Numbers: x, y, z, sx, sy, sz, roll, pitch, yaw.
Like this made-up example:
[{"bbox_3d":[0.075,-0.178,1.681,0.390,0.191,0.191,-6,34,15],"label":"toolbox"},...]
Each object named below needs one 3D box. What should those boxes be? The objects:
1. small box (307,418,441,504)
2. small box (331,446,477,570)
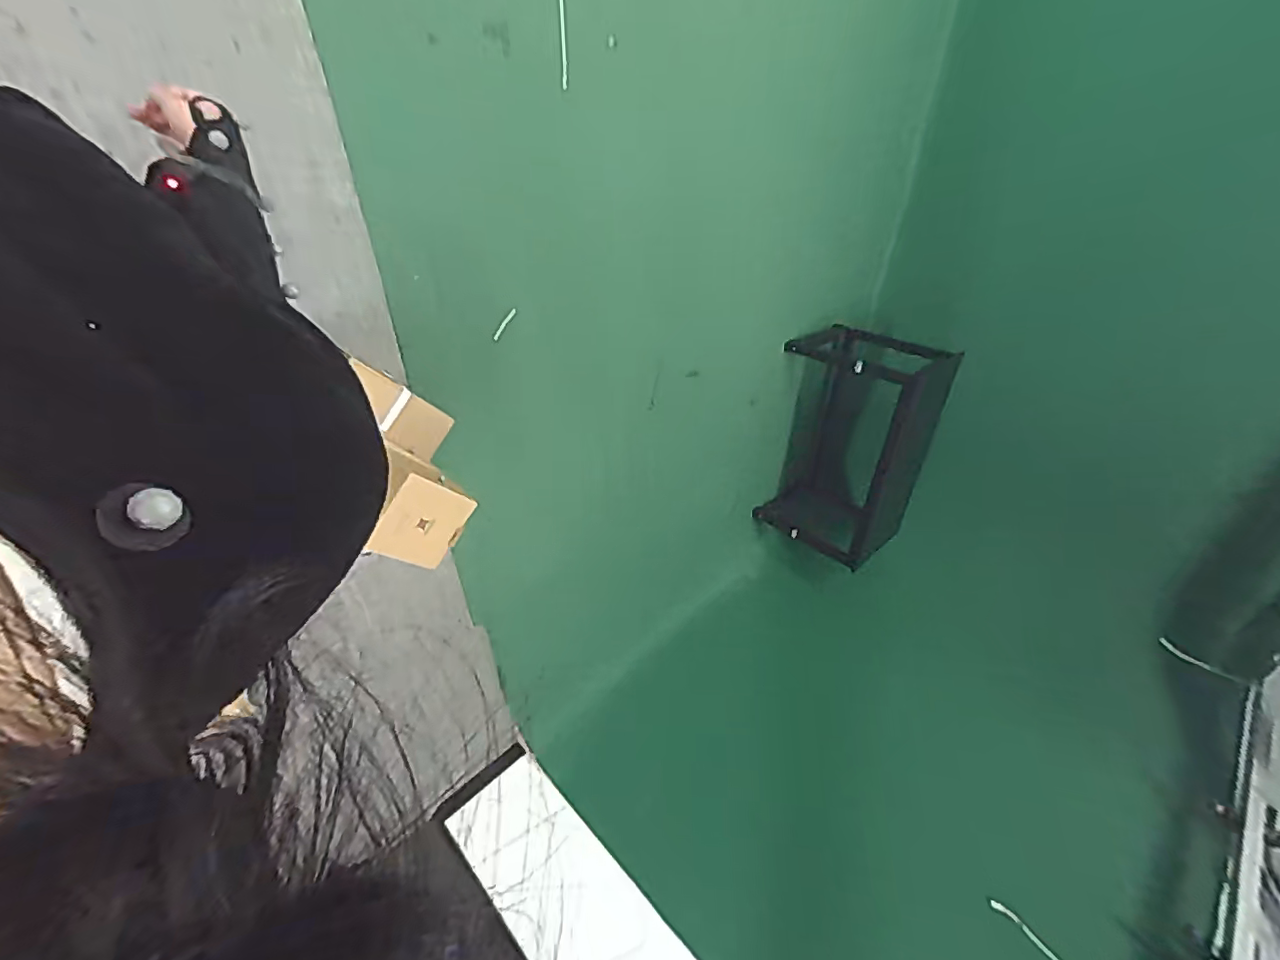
[{"bbox_3d":[-0.584,-0.013,1.193,0.168,0.176,0.179,-55,143,-7],"label":"small box"},{"bbox_3d":[-0.476,0.054,1.091,0.168,0.176,0.179,-57,144,-5],"label":"small box"}]
